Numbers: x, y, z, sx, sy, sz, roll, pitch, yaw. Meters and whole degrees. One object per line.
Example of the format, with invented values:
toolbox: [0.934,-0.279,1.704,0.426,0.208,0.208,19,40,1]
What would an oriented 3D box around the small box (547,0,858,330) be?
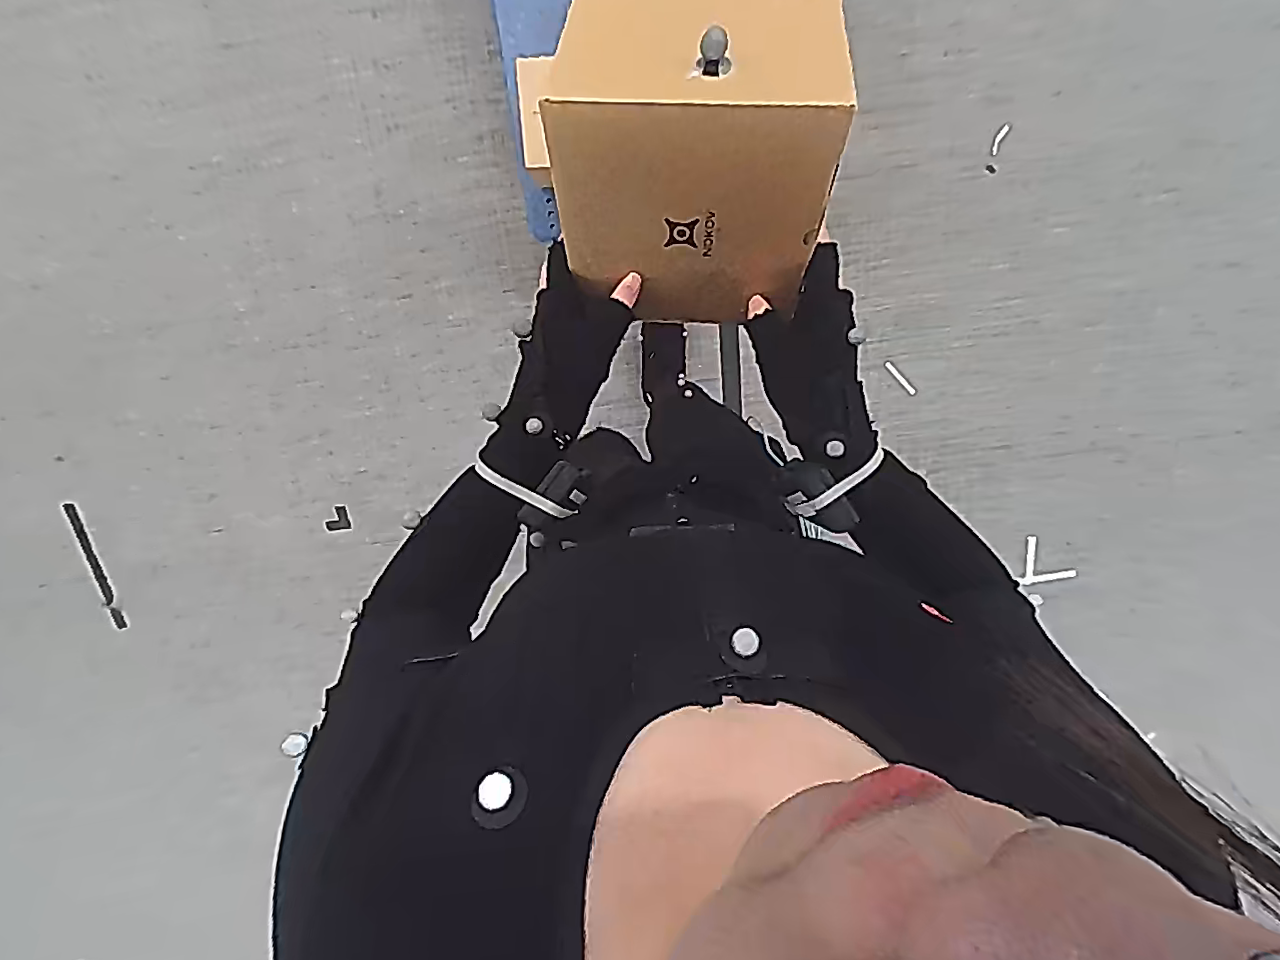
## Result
small box: [0.041,-0.237,0.407,0.179,0.176,0.168,3,152,3]

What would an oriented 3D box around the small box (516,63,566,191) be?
small box: [-0.121,-0.645,1.004,0.179,0.176,0.168,-2,108,0]
